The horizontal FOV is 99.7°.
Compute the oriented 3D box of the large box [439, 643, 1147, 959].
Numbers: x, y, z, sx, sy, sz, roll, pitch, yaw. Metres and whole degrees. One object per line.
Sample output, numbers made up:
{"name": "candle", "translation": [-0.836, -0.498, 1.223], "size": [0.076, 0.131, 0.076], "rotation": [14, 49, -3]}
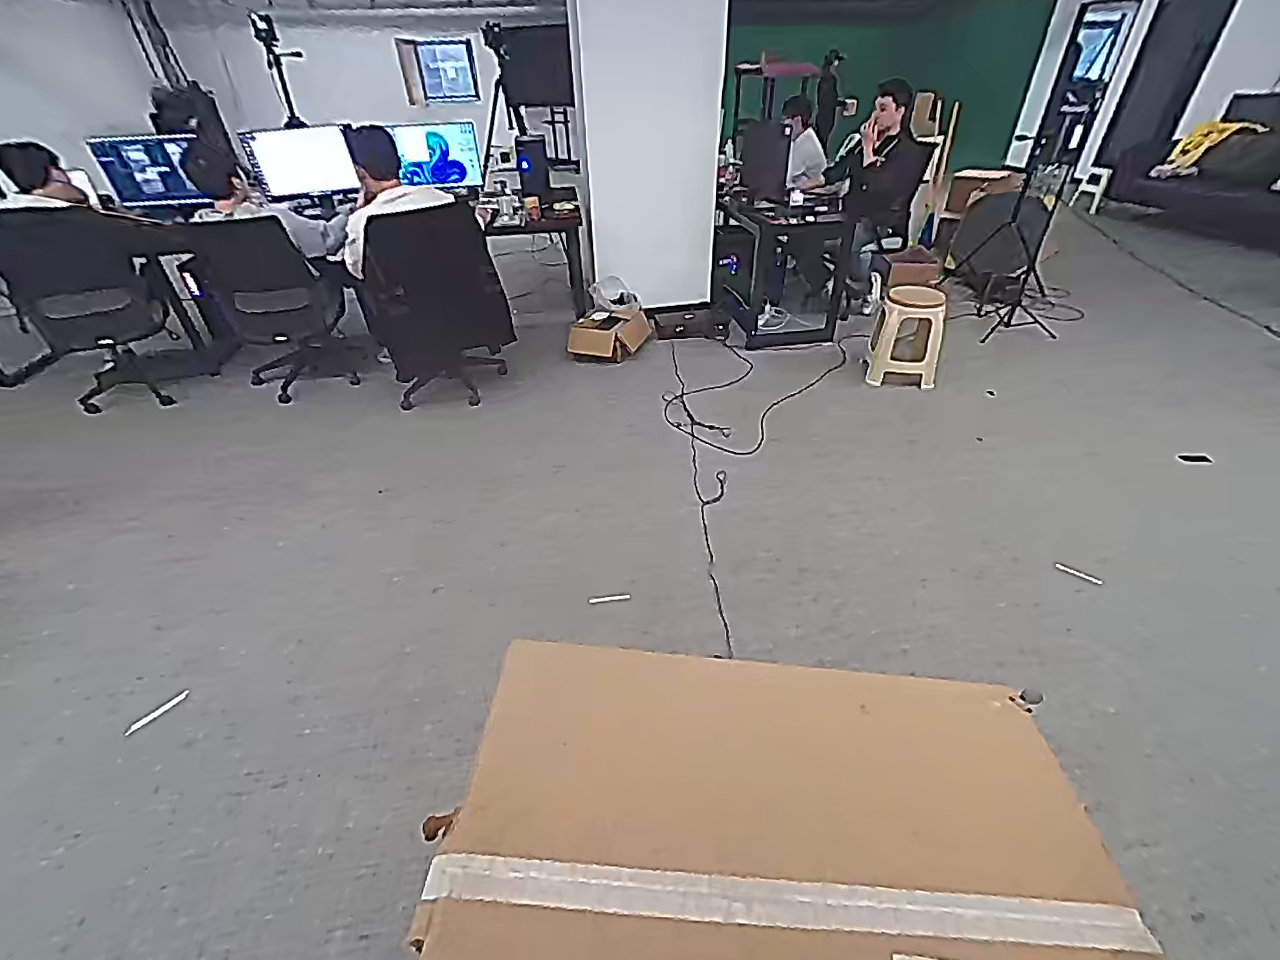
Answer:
{"name": "large box", "translation": [0.076, 0.359, 0.411], "size": [0.408, 0.320, 0.320], "rotation": [6, 39, -2]}
